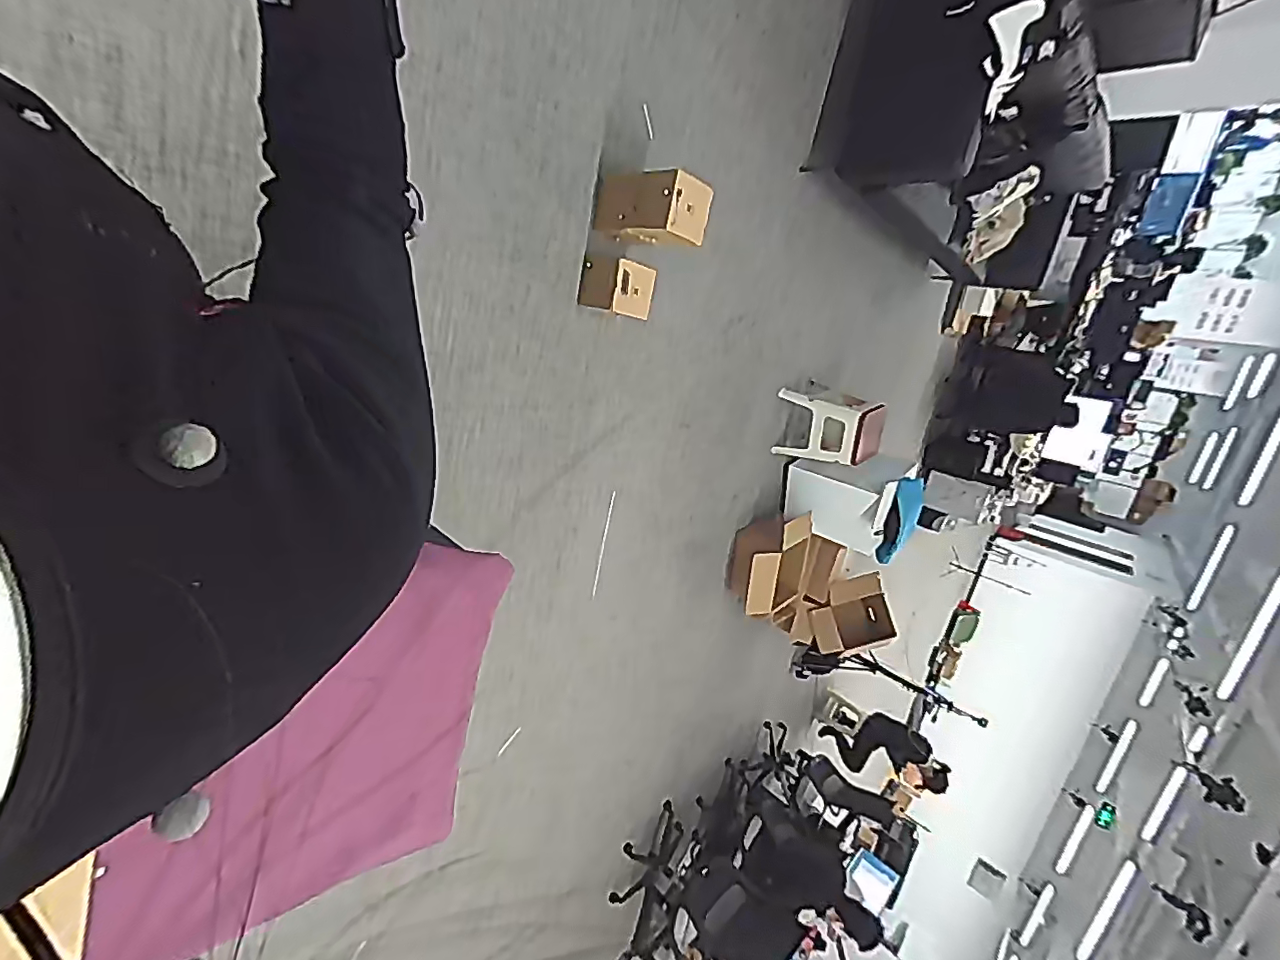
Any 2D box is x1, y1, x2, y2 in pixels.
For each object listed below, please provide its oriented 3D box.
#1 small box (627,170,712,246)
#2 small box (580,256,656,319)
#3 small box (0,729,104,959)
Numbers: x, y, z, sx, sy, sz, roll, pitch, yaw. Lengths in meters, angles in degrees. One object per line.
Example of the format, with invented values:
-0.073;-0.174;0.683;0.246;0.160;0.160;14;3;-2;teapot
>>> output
0.090;-0.831;1.660;0.179;0.176;0.168;-3;110;-48;small box
-0.077;-0.646;1.817;0.179;0.176;0.168;-4;111;-48;small box
-0.656;0.386;0.529;0.168;0.176;0.179;5;103;-50;small box
